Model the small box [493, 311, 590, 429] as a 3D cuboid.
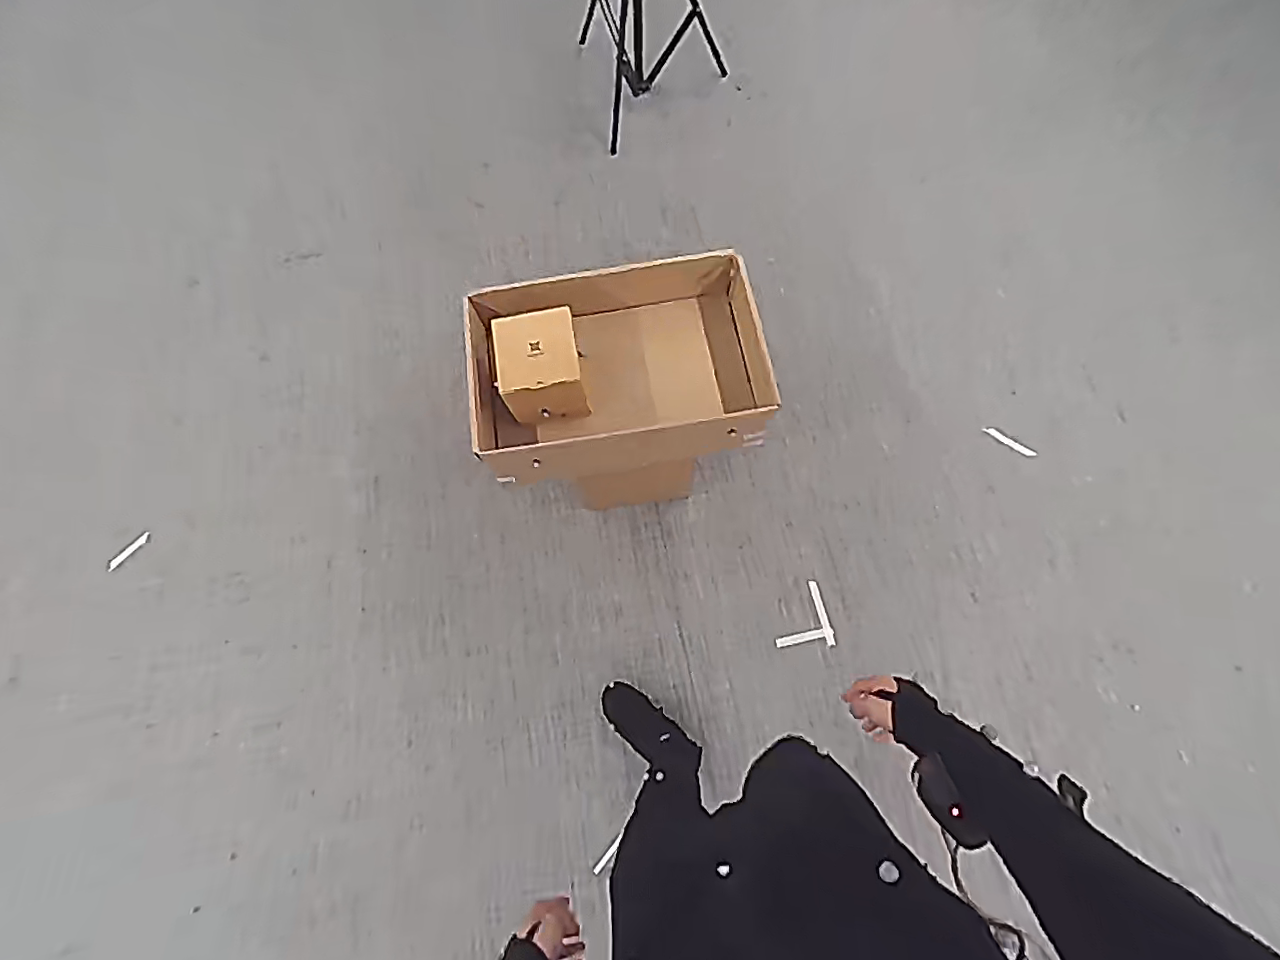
[{"bbox_3d":[-0.207,-0.232,1.167,0.168,0.176,0.179,-11,72,-1],"label":"small box"}]
